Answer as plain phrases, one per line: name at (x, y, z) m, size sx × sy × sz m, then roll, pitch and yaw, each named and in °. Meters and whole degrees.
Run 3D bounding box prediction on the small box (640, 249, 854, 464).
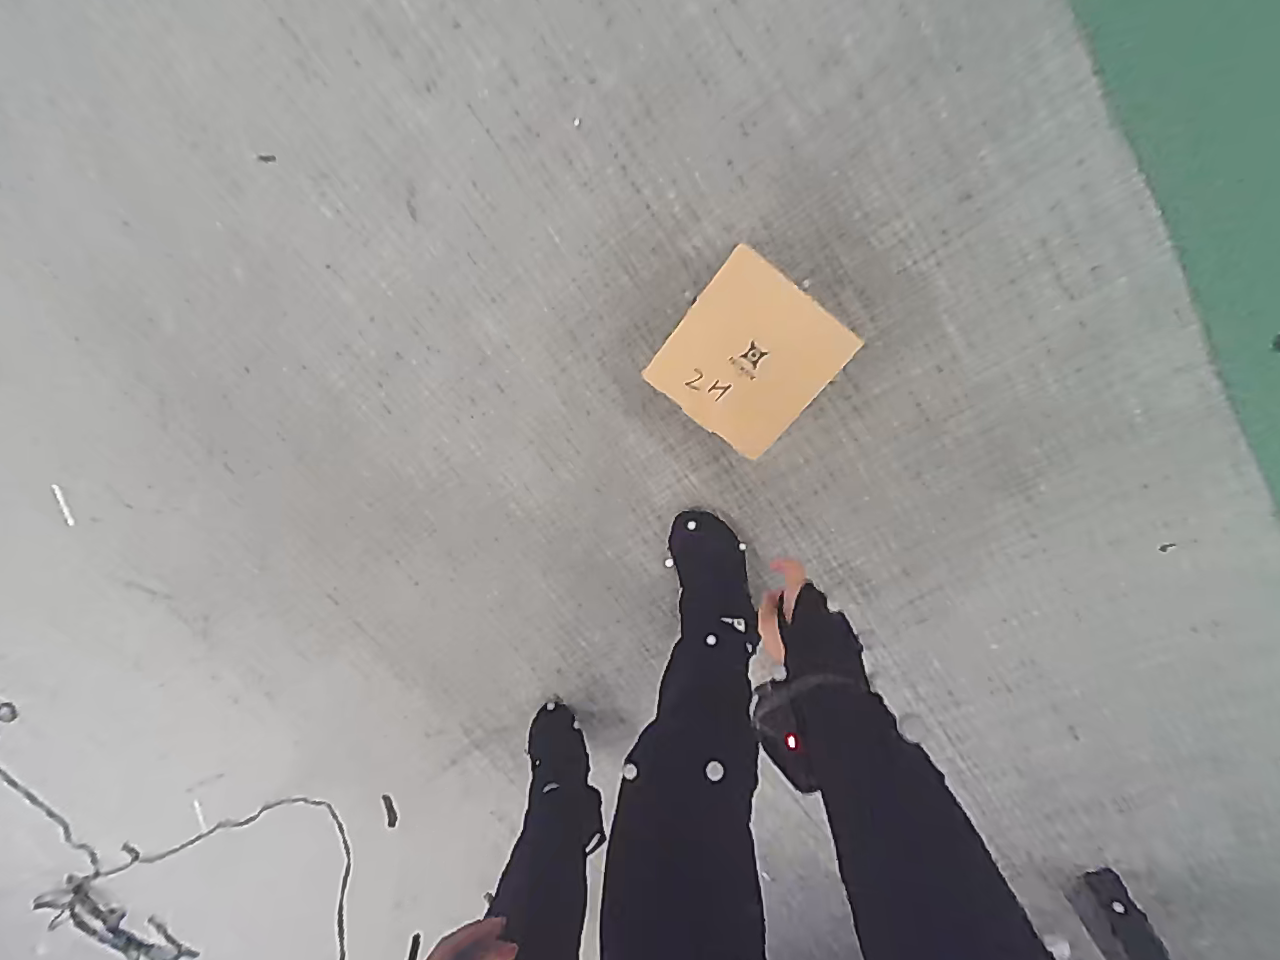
small box at (0.123, -0.156, 0.661) m, size 0.168 × 0.176 × 0.179 m, roll 37°, pitch 113°, yaw -5°
